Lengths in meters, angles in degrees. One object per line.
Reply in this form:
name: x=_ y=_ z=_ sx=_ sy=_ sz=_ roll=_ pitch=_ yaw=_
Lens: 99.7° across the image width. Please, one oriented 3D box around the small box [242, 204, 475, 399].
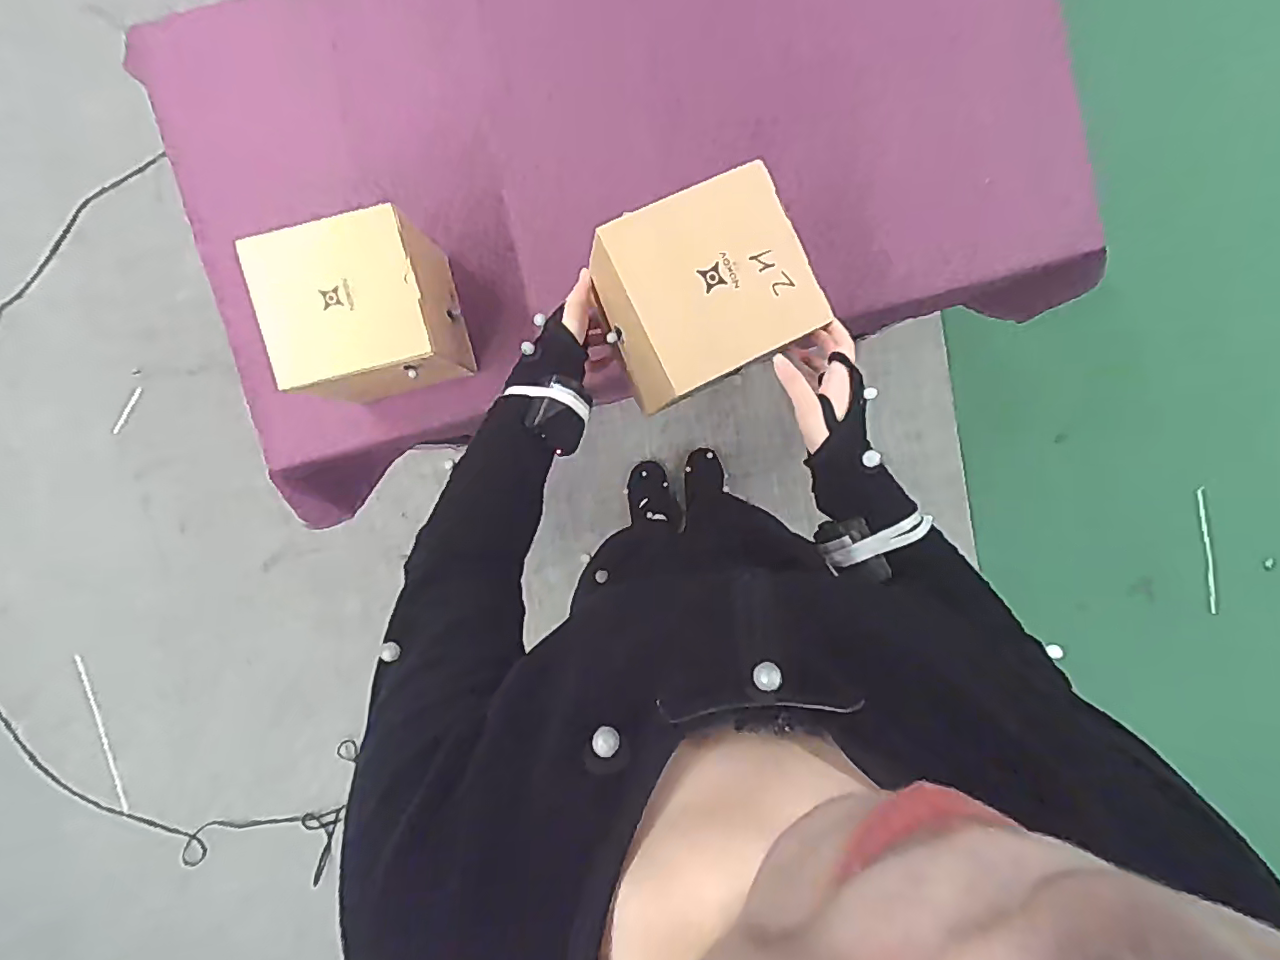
small box: x=-0.326 y=-0.202 z=0.663 sx=0.179 sy=0.176 sz=0.168 roll=-15 pitch=94 yaw=-1
